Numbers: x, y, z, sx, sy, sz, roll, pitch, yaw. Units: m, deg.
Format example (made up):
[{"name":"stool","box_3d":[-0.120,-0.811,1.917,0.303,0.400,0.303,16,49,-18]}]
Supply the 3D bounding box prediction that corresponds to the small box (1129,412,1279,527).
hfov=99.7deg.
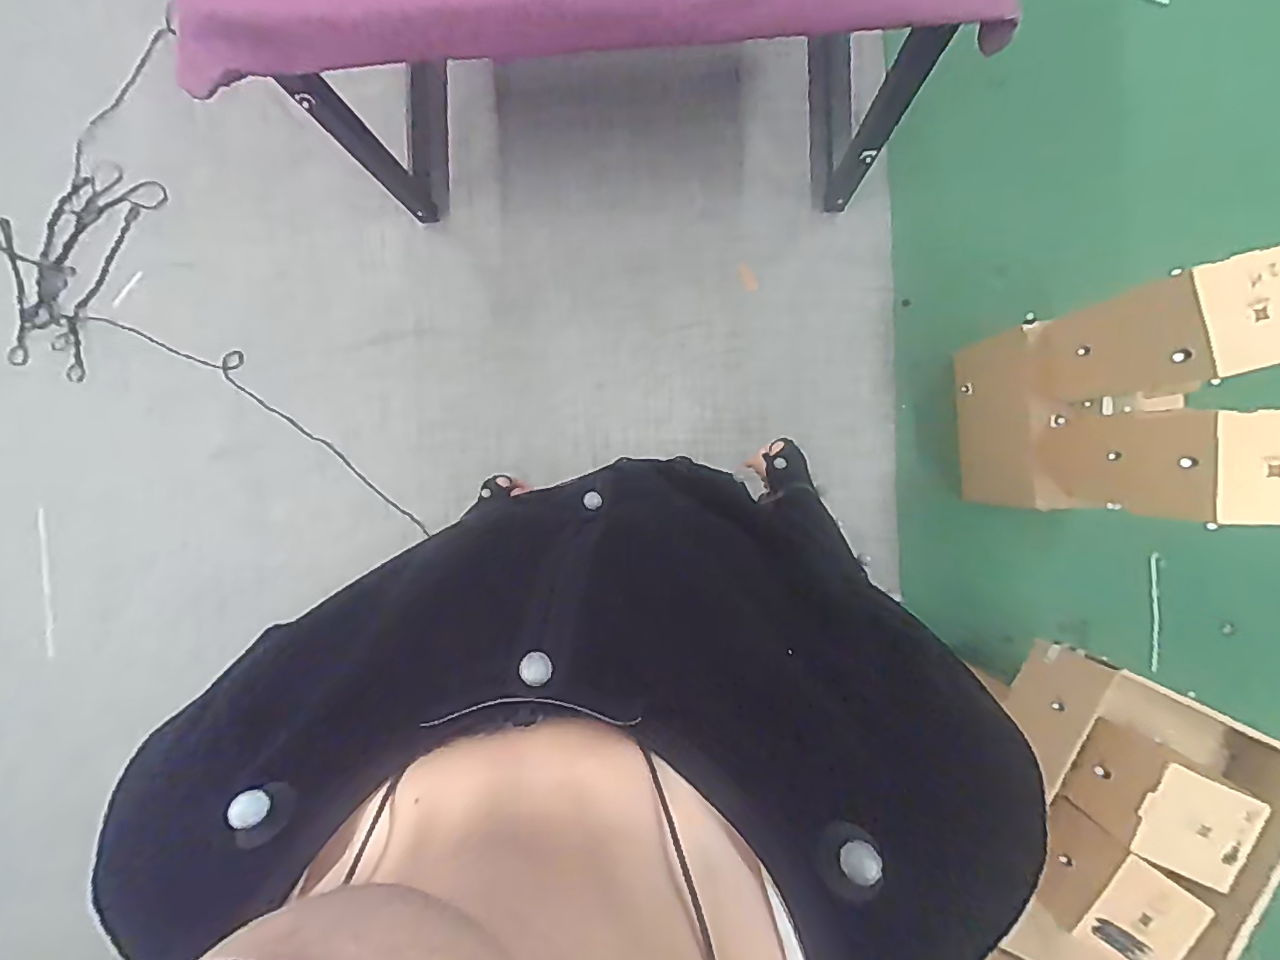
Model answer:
[{"name":"small box","box_3d":[0.960,-0.016,0.893,0.168,0.176,0.179,0,89,5]}]
